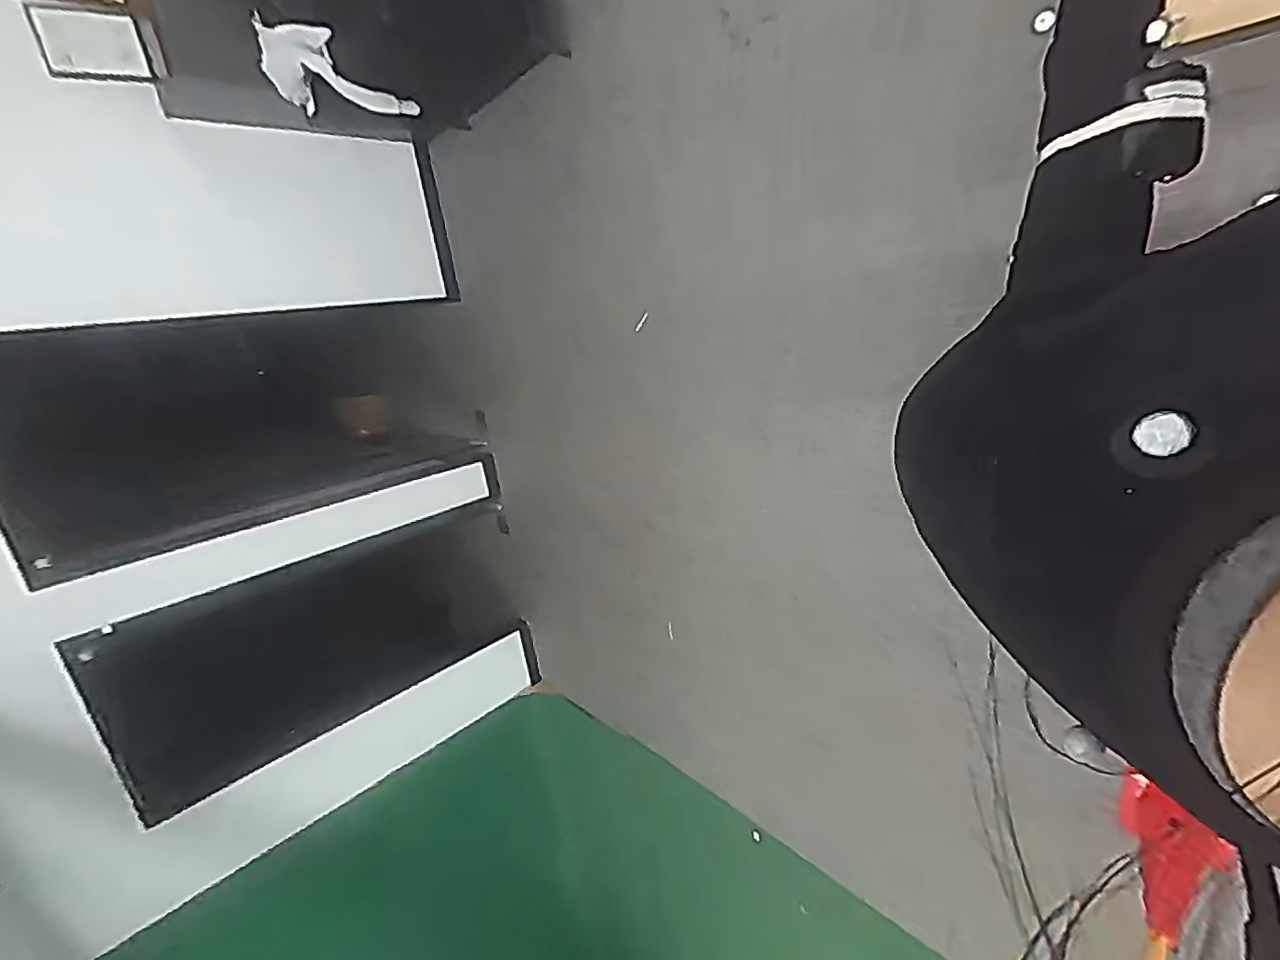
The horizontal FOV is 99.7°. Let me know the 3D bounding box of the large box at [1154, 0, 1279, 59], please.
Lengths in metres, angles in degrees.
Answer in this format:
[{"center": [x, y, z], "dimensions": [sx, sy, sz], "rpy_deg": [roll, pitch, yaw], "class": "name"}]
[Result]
[{"center": [0.577, -0.485, 0.290], "dimensions": [0.408, 0.320, 0.320], "rpy_deg": [9, 123, 40], "class": "large box"}]
